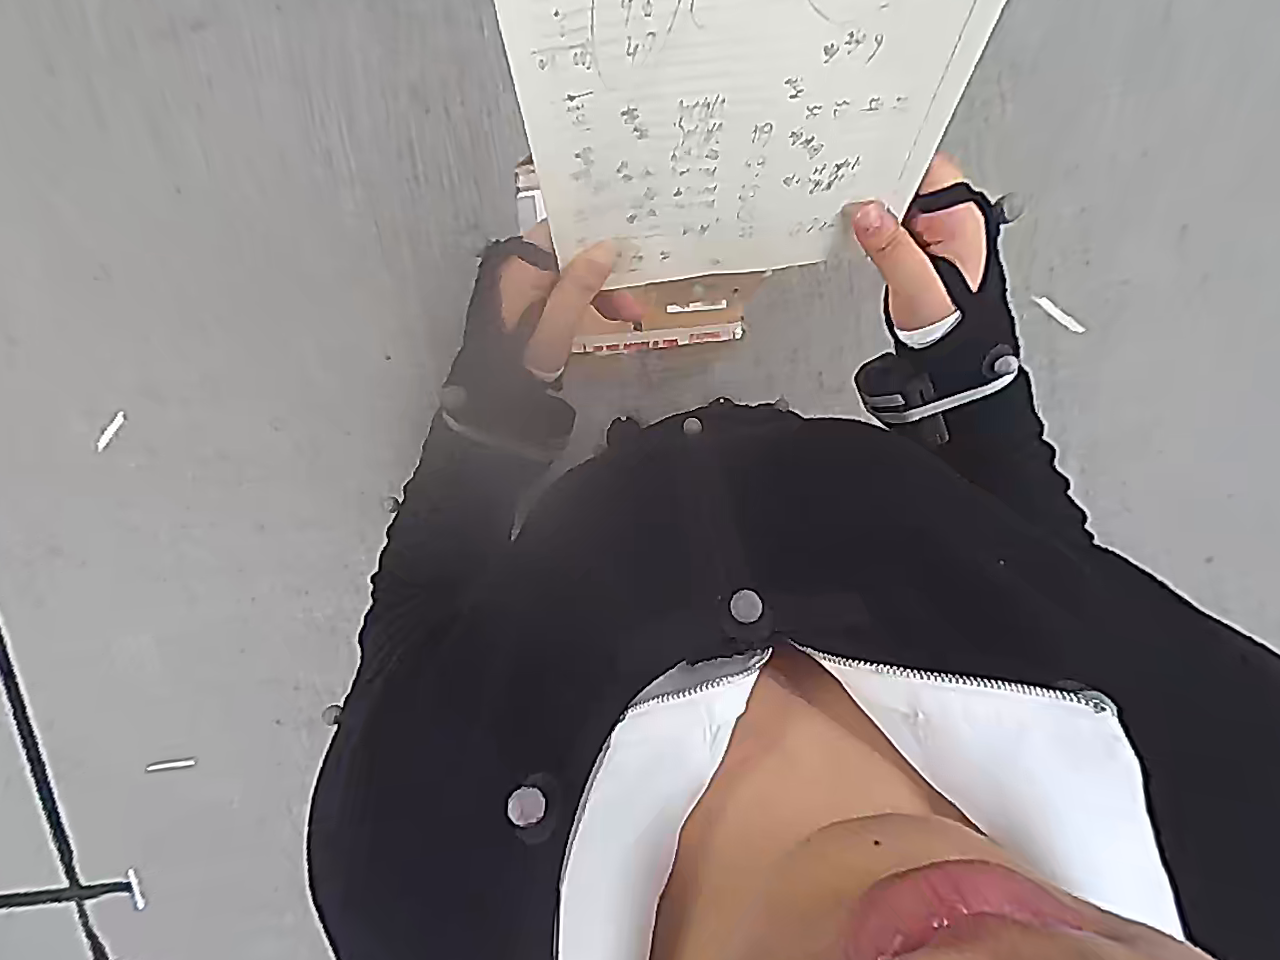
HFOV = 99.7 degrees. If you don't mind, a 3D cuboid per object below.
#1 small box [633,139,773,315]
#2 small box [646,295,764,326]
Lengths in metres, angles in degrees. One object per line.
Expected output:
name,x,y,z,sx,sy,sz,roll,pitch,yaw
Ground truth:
small box,0.077,-0.329,0.731,0.168,0.176,0.179,-3,99,-1
small box,0.094,-0.355,0.894,0.179,0.176,0.168,-6,98,1
